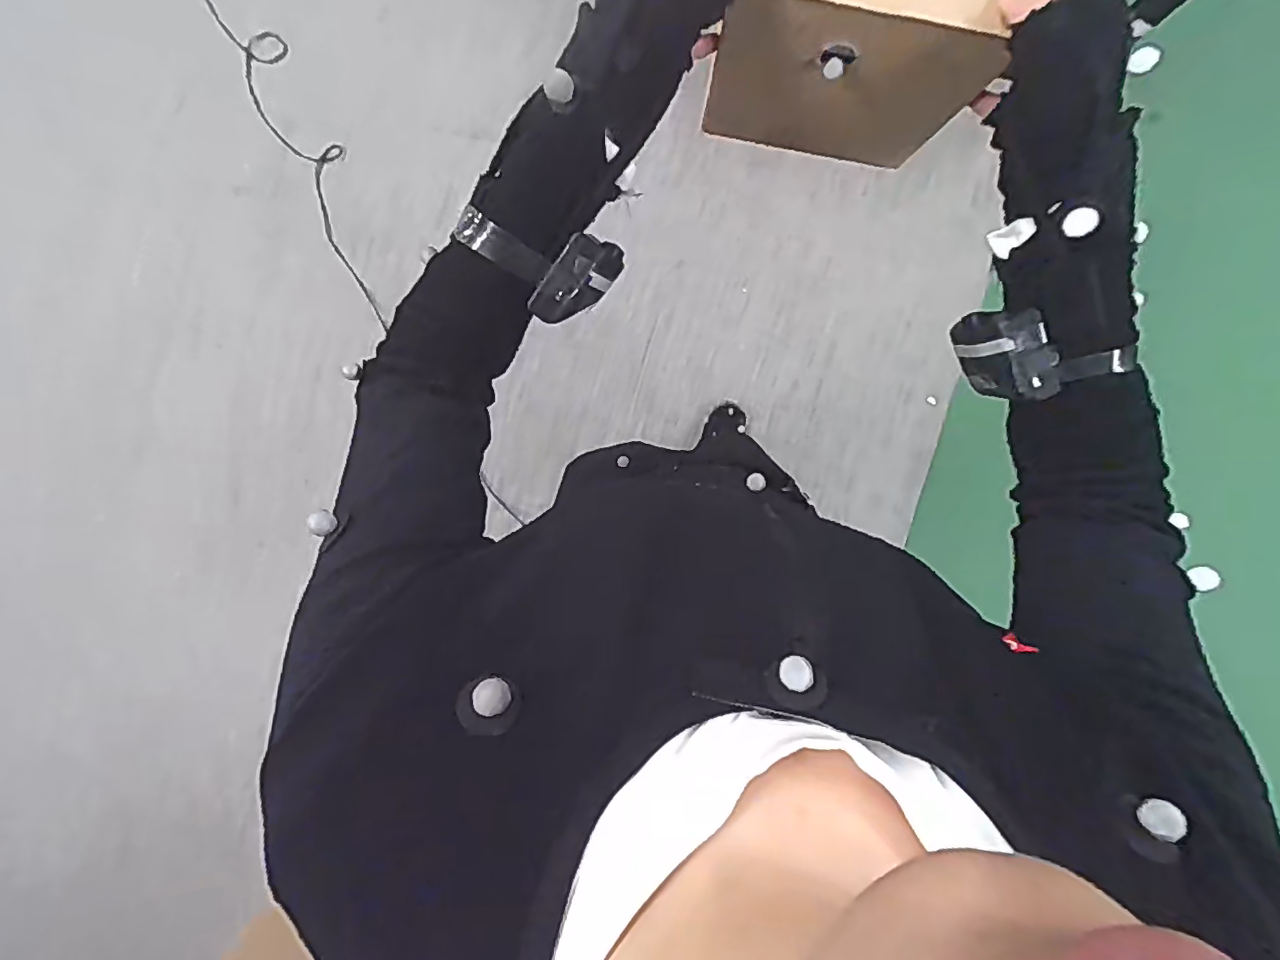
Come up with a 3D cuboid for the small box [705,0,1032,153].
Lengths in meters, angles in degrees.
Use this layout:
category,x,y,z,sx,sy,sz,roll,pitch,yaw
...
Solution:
category,x,y,z,sx,sy,sz,roll,pitch,yaw
small box,0.149,-0.359,0.375,0.179,0.176,0.168,10,98,-1
